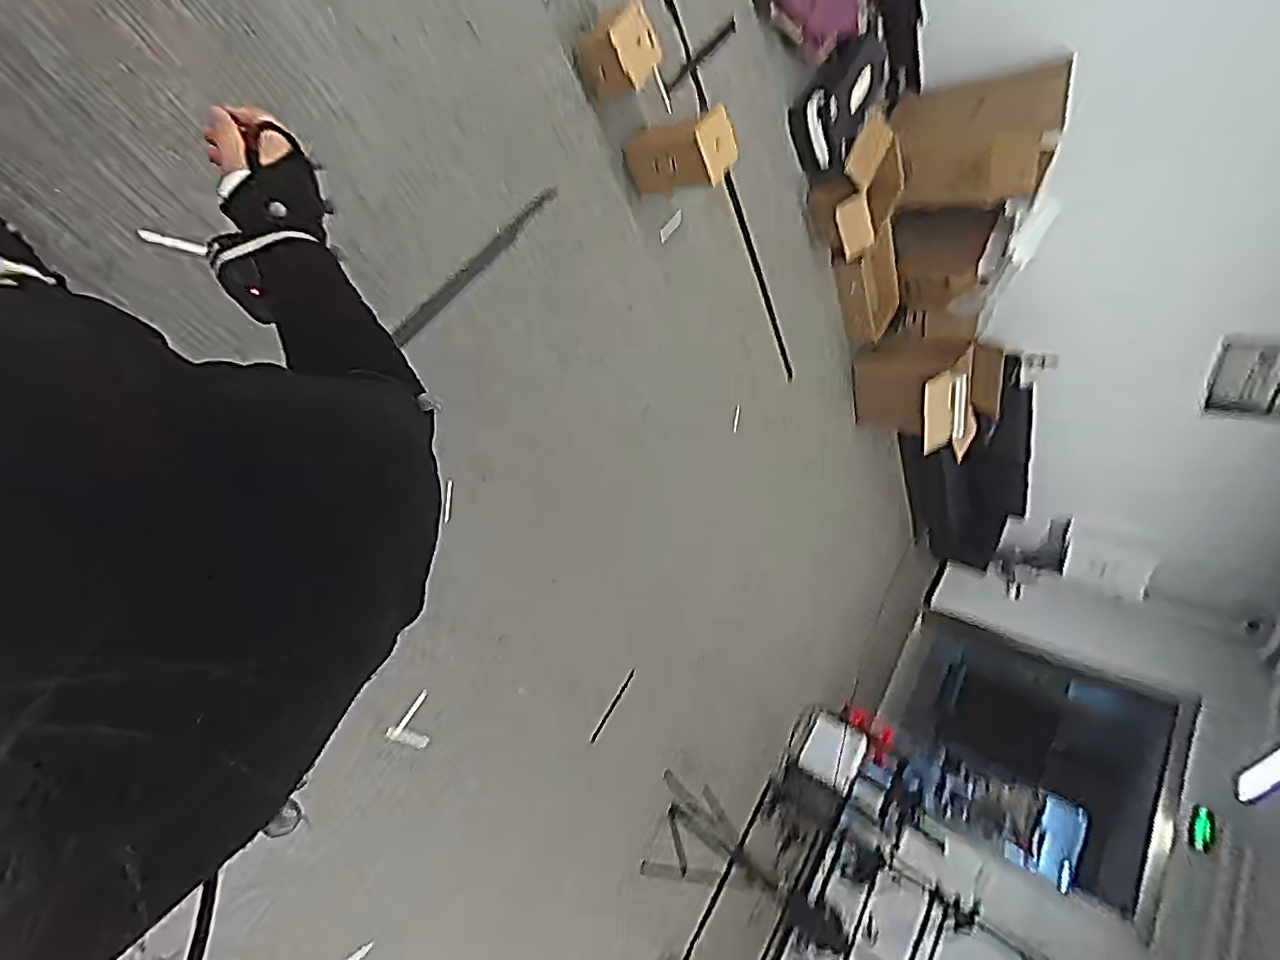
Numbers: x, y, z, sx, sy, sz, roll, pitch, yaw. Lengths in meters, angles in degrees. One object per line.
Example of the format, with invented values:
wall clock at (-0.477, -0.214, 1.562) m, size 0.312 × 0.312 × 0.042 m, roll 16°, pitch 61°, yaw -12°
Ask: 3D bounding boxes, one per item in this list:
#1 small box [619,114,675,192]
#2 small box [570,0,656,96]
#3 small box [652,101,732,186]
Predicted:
small box at (0.053, -1.135, 1.888) m, size 0.168 × 0.176 × 0.179 m, roll -53°, pitch 137°, yaw -22°
small box at (-0.088, -1.325, 1.659) m, size 0.179 × 0.176 × 0.168 m, roll -59°, pitch 138°, yaw -15°
small box at (0.170, -1.102, 1.780) m, size 0.179 × 0.176 × 0.168 m, roll -55°, pitch 136°, yaw -18°
